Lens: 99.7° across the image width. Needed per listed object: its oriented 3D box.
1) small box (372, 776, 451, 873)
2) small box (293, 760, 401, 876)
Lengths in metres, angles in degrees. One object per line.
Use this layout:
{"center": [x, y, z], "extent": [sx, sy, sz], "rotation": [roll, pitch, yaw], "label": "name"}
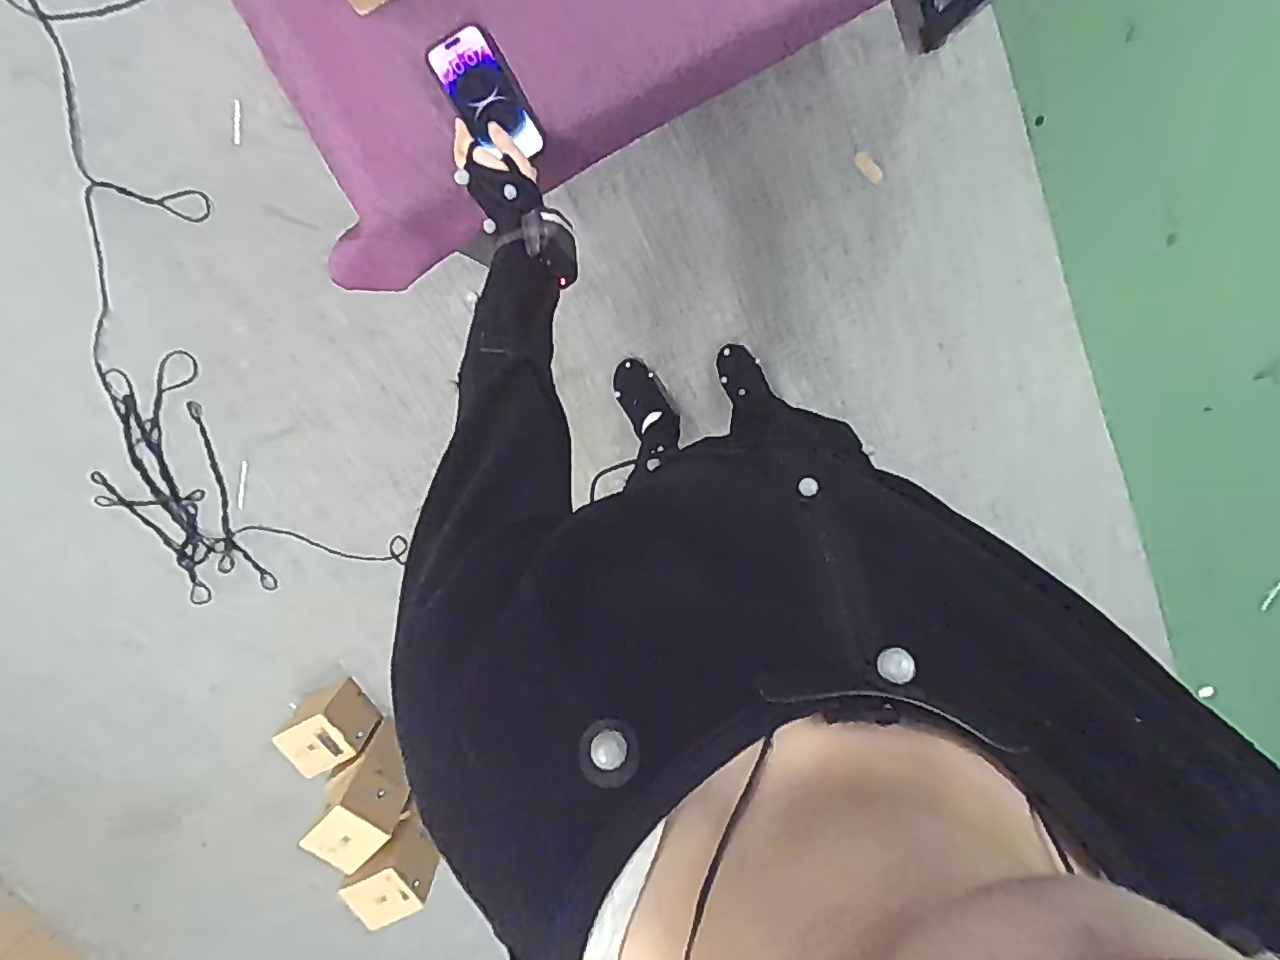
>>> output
{"center": [-0.721, 1.055, 1.676], "extent": [0.168, 0.176, 0.179], "rotation": [-27, 106, 5], "label": "small box"}
{"center": [-0.778, 0.906, 1.464], "extent": [0.179, 0.176, 0.168], "rotation": [-44, 103, 10], "label": "small box"}
